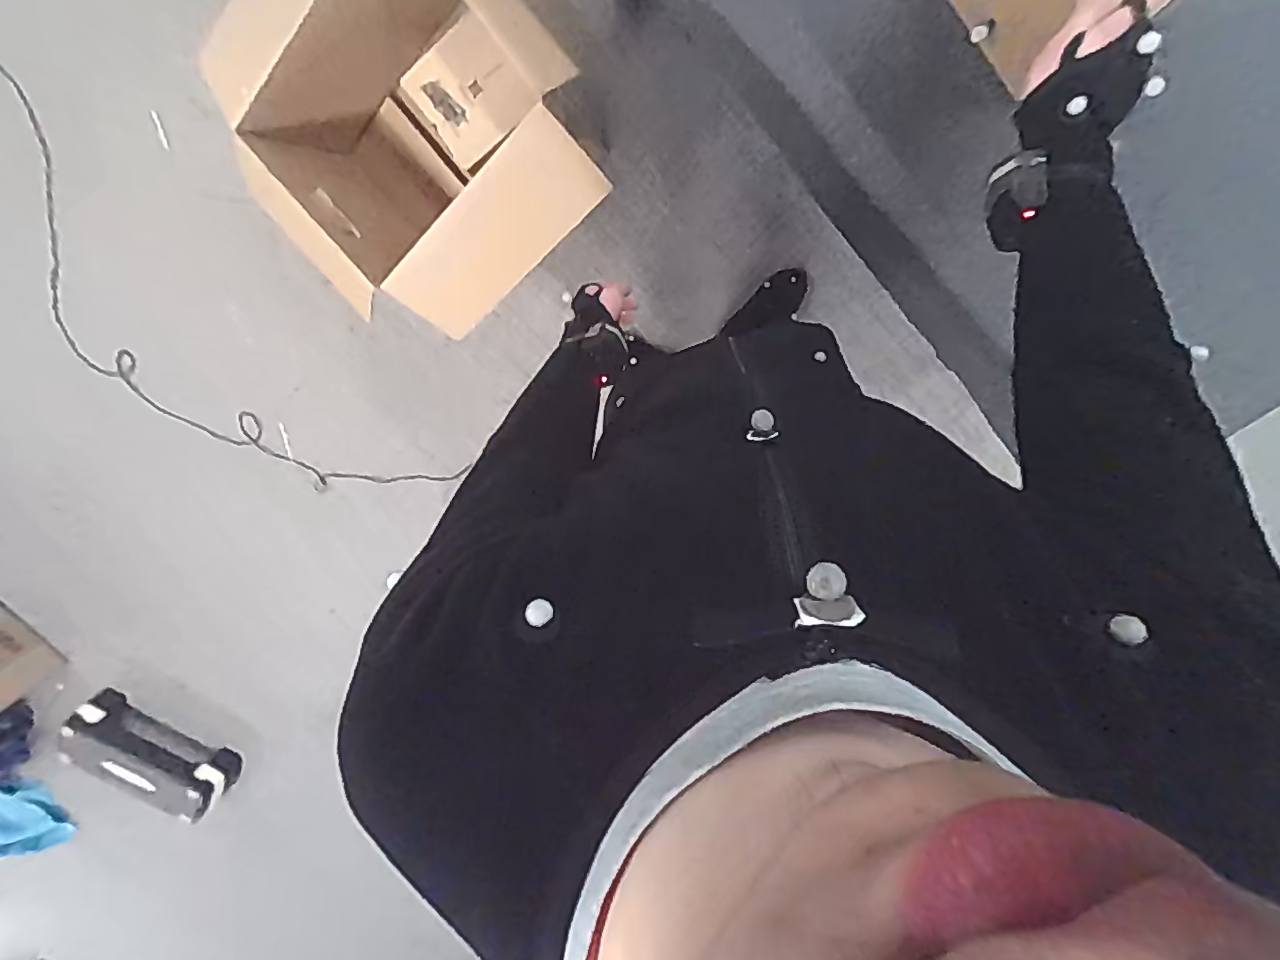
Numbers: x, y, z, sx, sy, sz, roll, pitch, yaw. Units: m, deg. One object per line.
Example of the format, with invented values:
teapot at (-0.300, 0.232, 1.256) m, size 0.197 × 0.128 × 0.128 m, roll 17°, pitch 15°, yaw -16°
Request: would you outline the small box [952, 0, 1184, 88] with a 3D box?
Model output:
small box at (0.411, -0.496, 0.486) m, size 0.168 × 0.176 × 0.179 m, roll -40°, pitch 102°, yaw 22°
